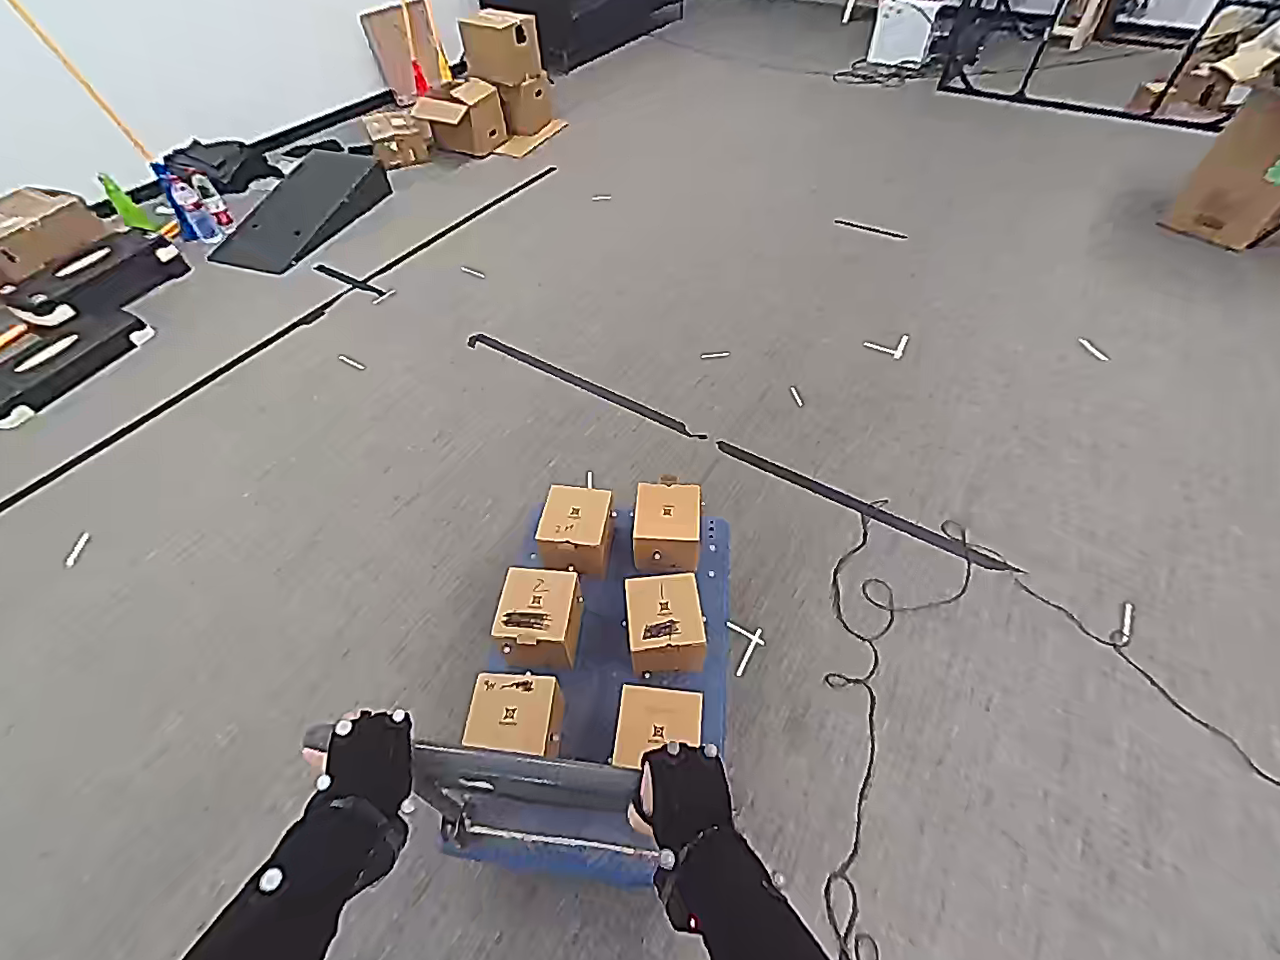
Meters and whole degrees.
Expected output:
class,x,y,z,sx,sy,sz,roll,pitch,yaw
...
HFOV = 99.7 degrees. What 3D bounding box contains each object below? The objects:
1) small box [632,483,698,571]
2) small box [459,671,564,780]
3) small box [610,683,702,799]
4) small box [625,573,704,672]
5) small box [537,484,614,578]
class,x,y,z,sx,sy,sz,roll,pitch,yaw
small box,0.071,0.129,1.450,0.168,0.176,0.179,2,51,3
small box,-0.259,0.521,1.140,0.168,0.176,0.179,3,52,2
small box,0.038,0.543,1.119,0.168,0.176,0.179,5,51,5
small box,0.055,0.342,1.279,0.168,0.176,0.179,-5,50,-2
small box,-0.165,0.138,1.446,0.168,0.176,0.179,6,53,6
